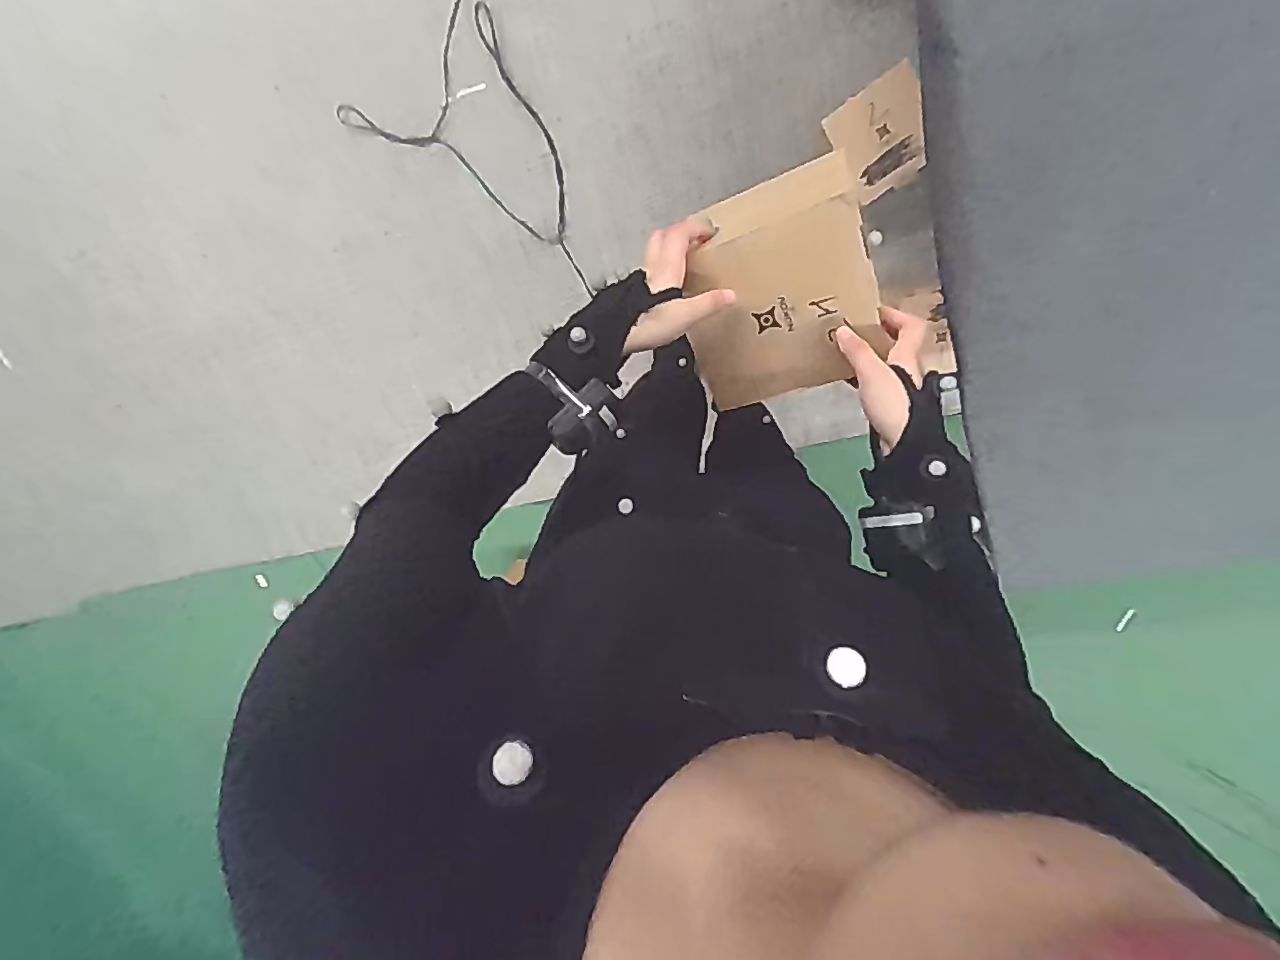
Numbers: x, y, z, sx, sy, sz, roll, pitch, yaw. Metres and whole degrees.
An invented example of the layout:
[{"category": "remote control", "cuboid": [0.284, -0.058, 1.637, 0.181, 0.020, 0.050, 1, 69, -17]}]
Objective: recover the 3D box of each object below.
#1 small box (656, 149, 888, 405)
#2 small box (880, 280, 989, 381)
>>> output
[{"category": "small box", "cuboid": [0.140, -0.206, 0.554, 0.179, 0.176, 0.168, -13, 125, 26]}, {"category": "small box", "cuboid": [0.623, -0.327, 1.161, 0.168, 0.176, 0.179, -7, 113, 13]}]
